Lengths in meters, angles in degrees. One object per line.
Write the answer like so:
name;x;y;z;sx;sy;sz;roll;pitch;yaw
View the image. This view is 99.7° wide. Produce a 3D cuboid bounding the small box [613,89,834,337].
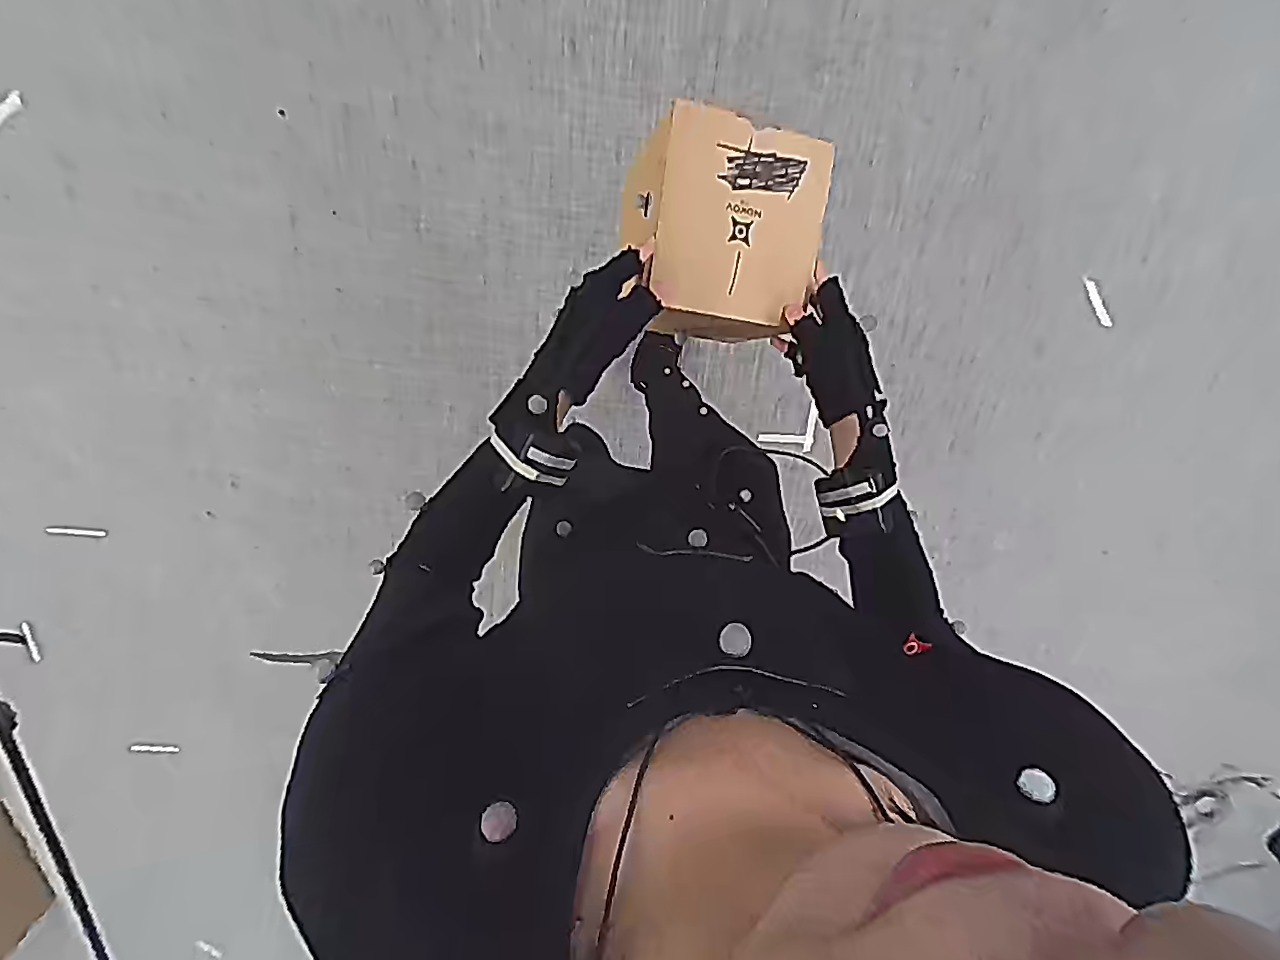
small box;0.074;-0.258;0.574;0.168;0.176;0.179;6;98;-16
